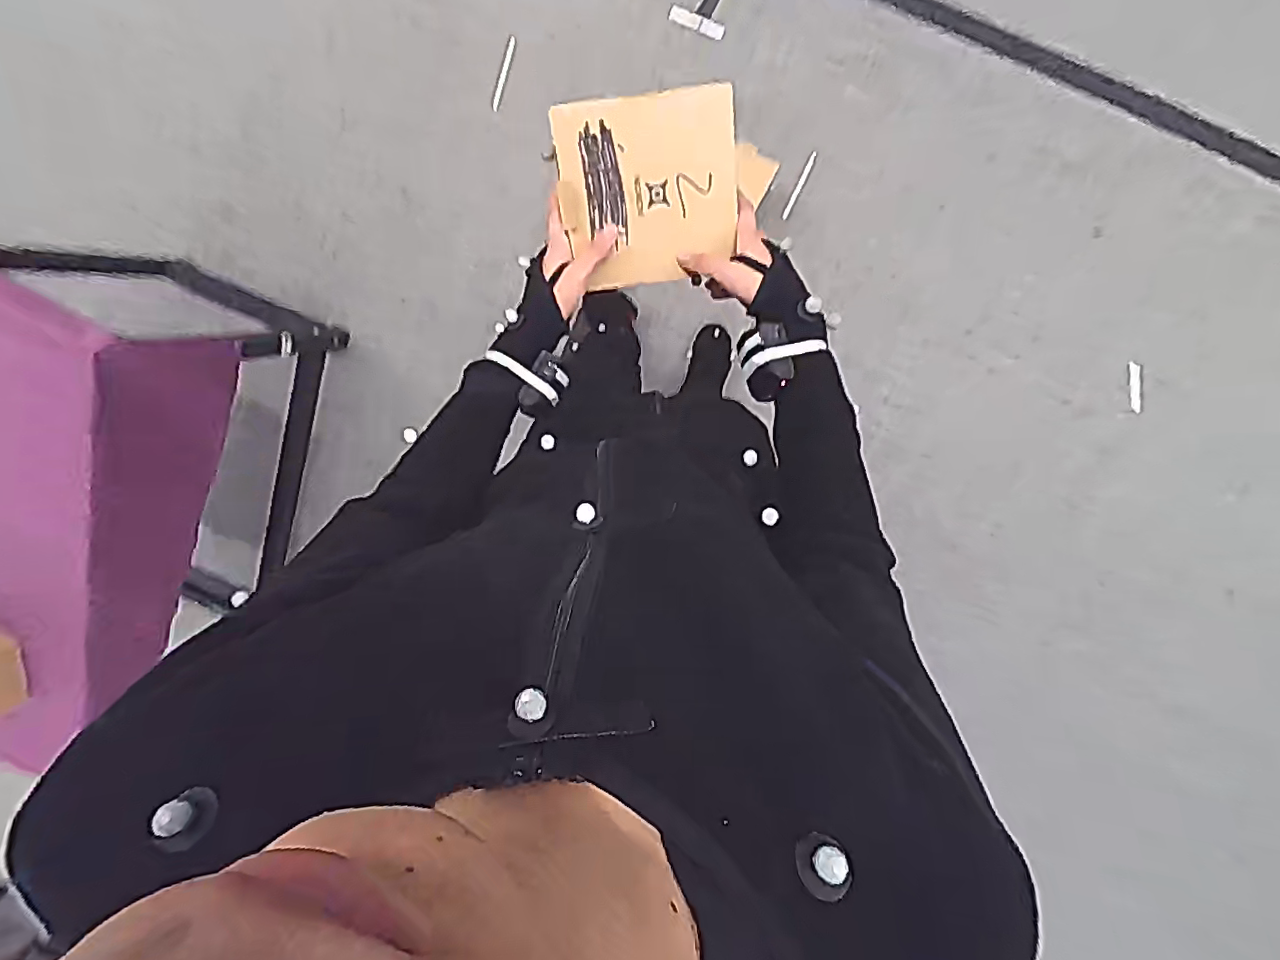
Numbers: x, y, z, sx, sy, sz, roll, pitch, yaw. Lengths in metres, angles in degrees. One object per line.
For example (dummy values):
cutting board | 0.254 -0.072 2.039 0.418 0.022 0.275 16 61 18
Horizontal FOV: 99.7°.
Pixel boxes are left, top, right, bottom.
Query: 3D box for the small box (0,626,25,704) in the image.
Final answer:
small box | -1.503 0.421 1.169 0.168 0.176 0.179 15 109 3

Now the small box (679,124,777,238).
small box | 0.212 -0.710 1.311 0.168 0.176 0.179 28 110 -2
